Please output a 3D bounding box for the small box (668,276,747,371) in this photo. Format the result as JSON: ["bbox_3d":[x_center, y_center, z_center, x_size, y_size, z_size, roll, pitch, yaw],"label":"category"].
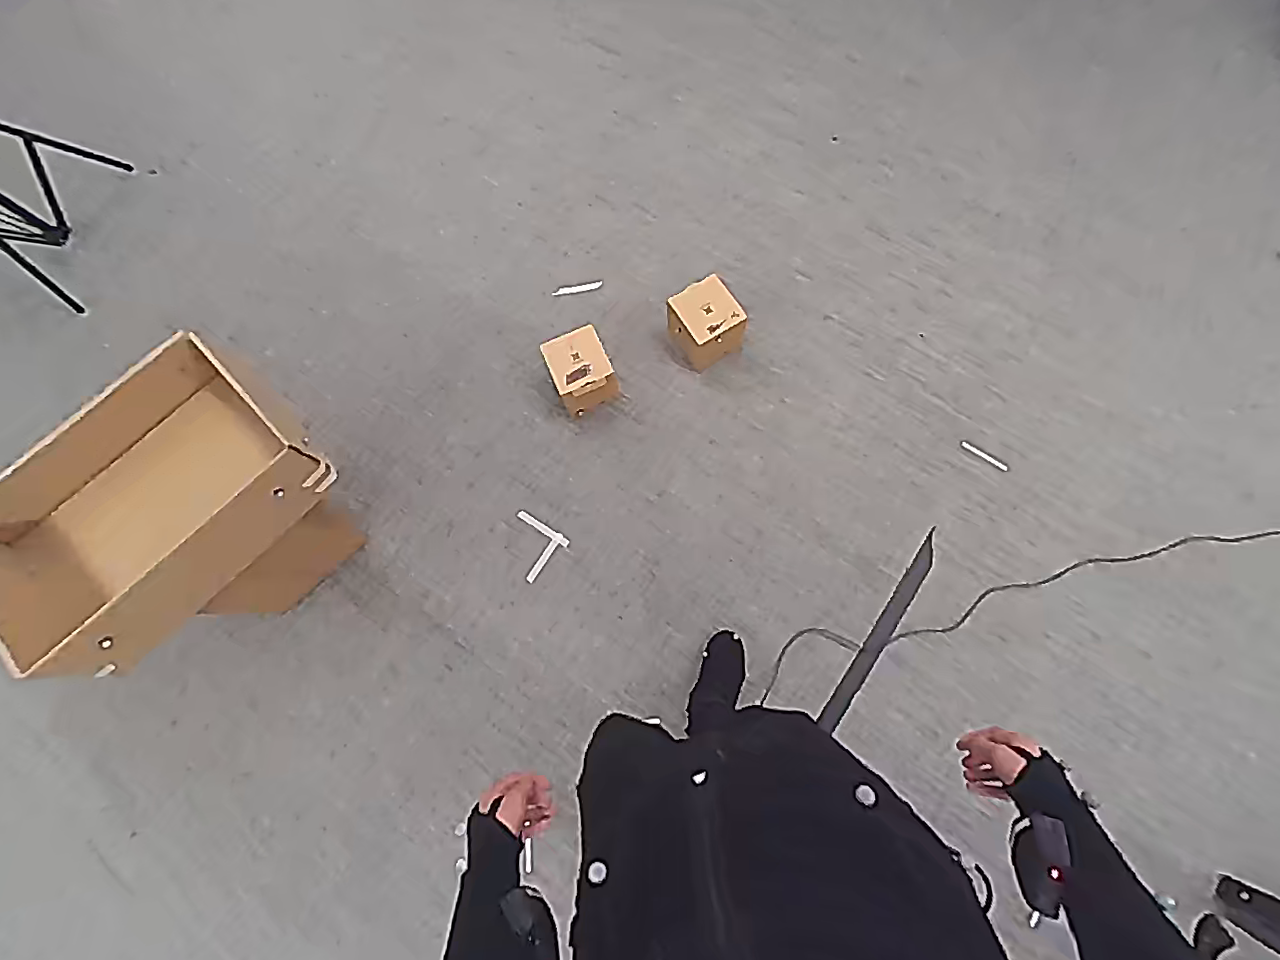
[{"bbox_3d":[0.194,-0.461,1.613,0.168,0.176,0.179,-31,74,-5],"label":"small box"}]

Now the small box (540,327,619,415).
[{"bbox_3d":[-0.172,-0.311,1.592,0.168,0.176,0.179,-24,74,-4],"label":"small box"}]
